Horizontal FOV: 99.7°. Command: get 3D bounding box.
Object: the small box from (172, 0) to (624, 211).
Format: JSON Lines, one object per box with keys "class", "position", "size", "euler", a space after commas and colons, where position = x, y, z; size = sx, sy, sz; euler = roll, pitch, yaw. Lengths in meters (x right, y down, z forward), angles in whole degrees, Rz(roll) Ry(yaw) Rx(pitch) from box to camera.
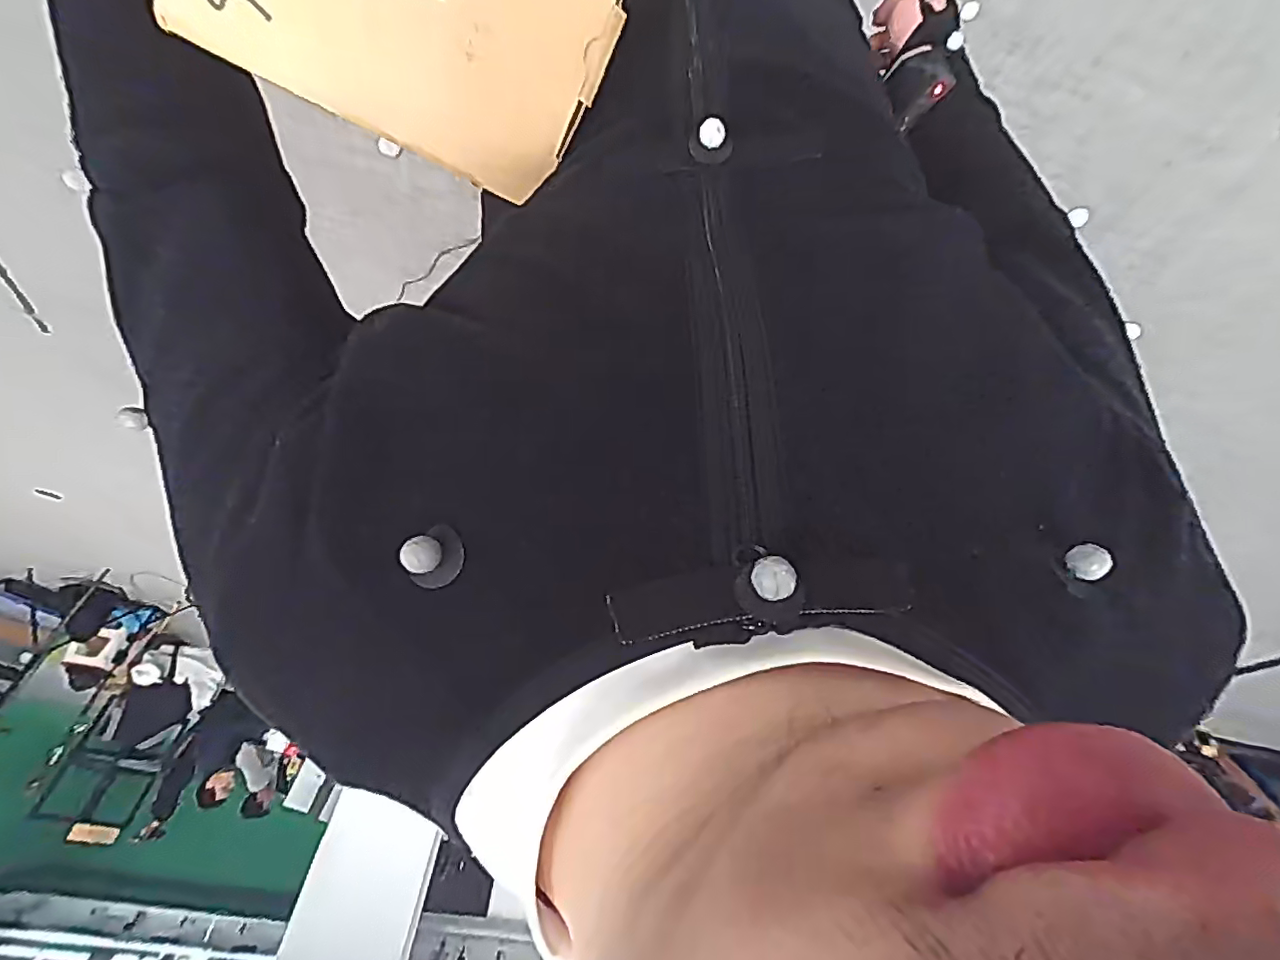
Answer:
{"class": "small box", "position": [-0.119, -0.285, 0.306], "size": [0.179, 0.176, 0.168], "euler": [15, 116, -29]}
